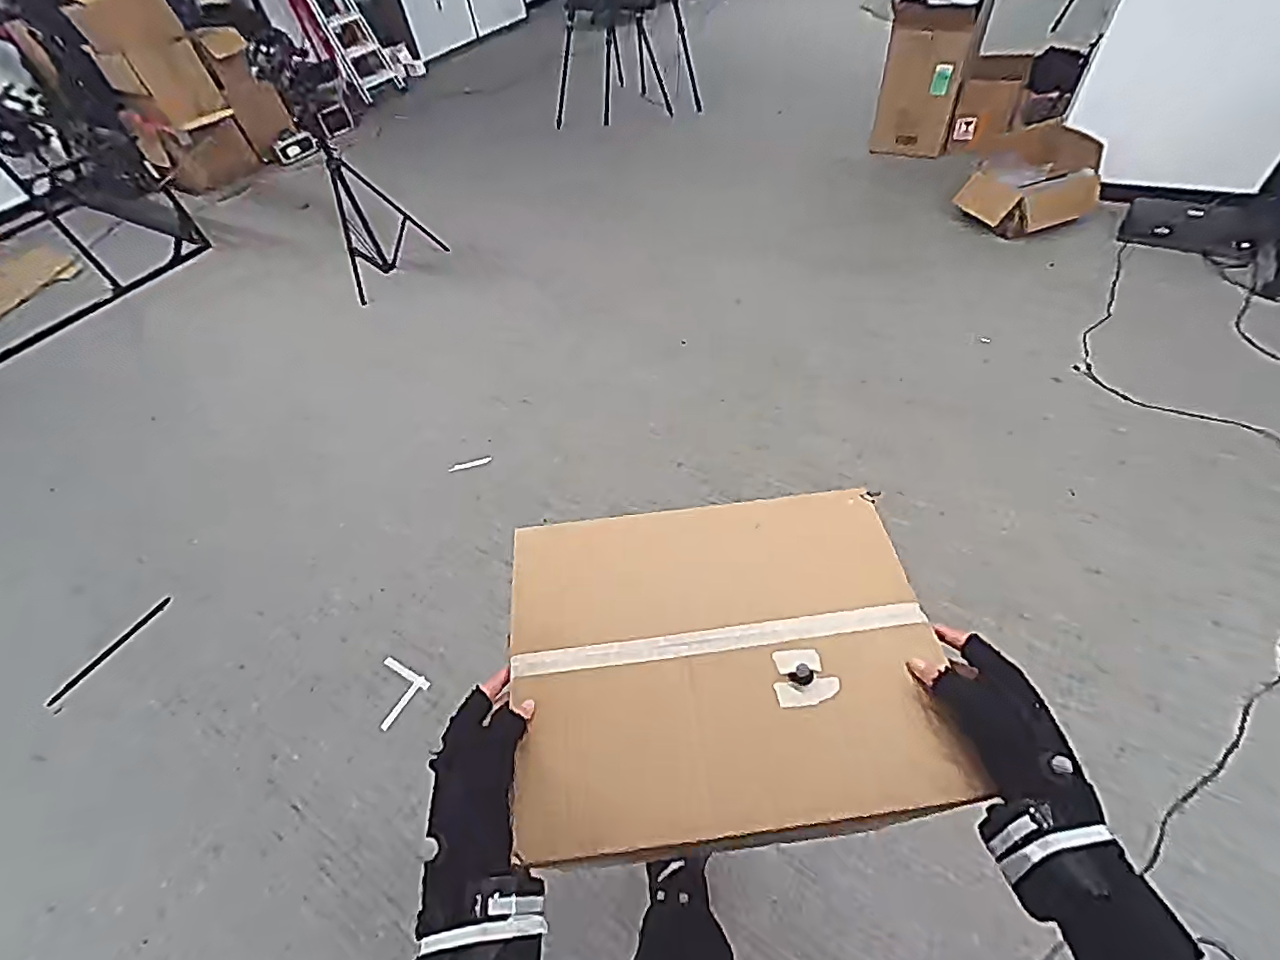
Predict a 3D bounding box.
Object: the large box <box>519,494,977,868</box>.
[{"bbox_3d":[0.082,0.251,0.661,0.408,0.320,0.320,-7,53,-2],"label":"large box"}]
